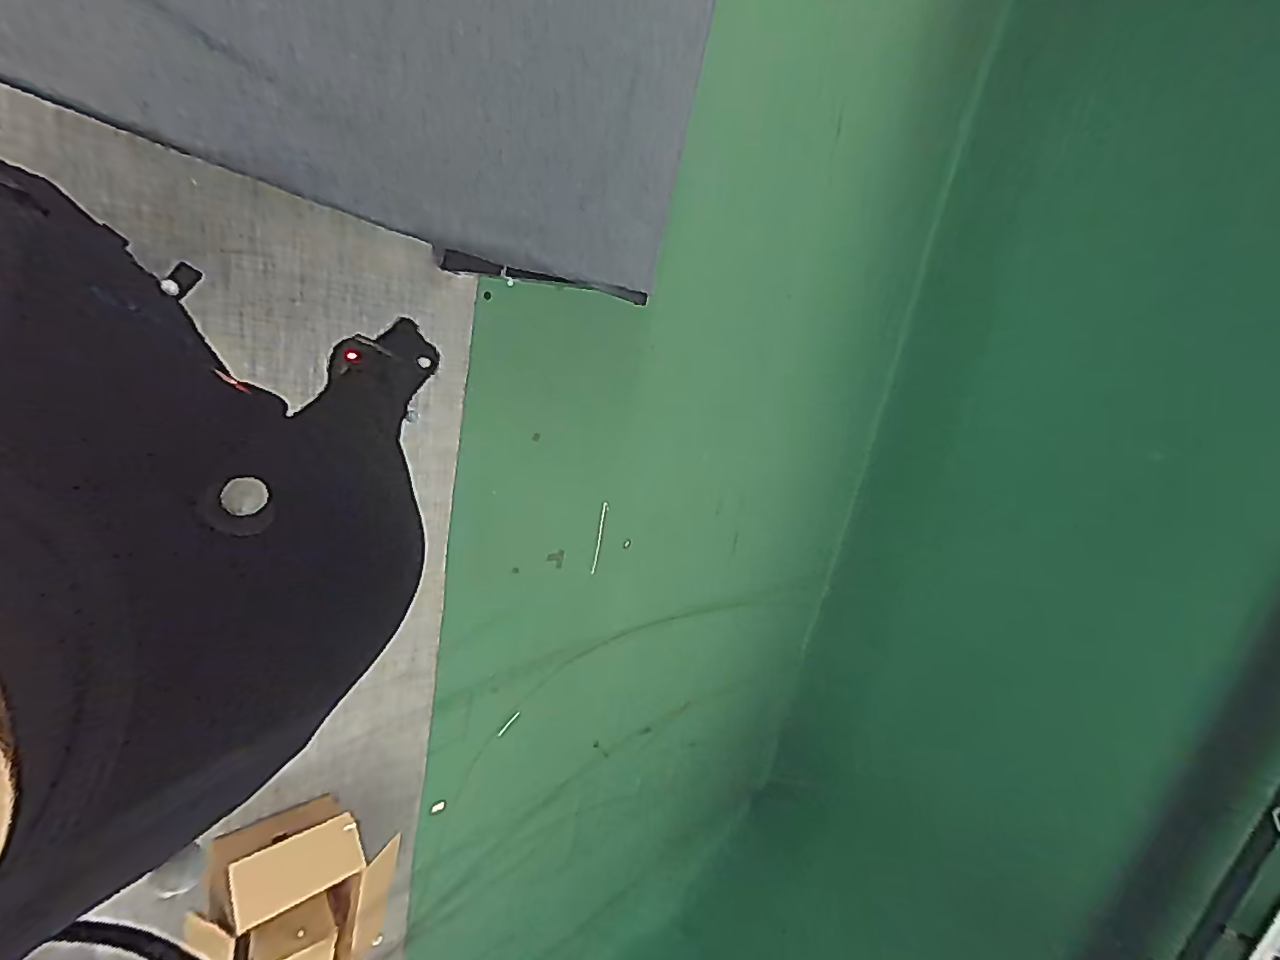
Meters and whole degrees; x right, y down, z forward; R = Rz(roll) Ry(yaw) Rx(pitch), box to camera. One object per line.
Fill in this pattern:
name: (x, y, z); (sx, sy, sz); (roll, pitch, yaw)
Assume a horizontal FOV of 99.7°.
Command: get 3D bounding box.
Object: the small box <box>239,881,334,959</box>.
small box: (-0.956, 1.246, 1.456); (0.179, 0.176, 0.168); (2, 107, -47)
